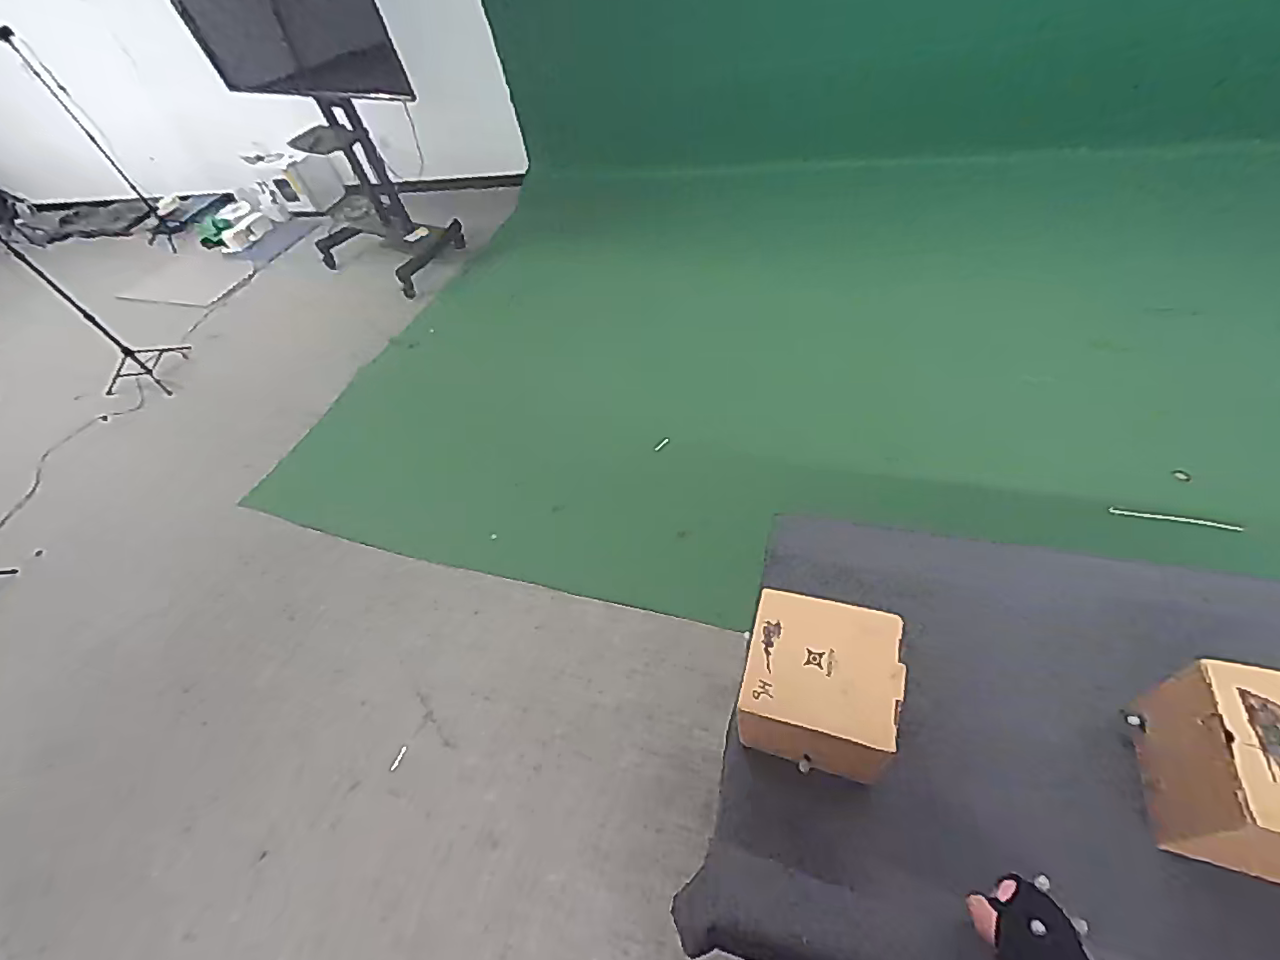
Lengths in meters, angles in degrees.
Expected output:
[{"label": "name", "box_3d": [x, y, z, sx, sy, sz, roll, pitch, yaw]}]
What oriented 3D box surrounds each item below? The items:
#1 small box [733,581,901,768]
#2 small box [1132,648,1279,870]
[{"label": "small box", "box_3d": [0.229, 0.260, 0.715, 0.179, 0.176, 0.168, 10, 54, 19]}, {"label": "small box", "box_3d": [0.672, 0.305, 0.575, 0.179, 0.176, 0.168, 9, 55, 18]}]
